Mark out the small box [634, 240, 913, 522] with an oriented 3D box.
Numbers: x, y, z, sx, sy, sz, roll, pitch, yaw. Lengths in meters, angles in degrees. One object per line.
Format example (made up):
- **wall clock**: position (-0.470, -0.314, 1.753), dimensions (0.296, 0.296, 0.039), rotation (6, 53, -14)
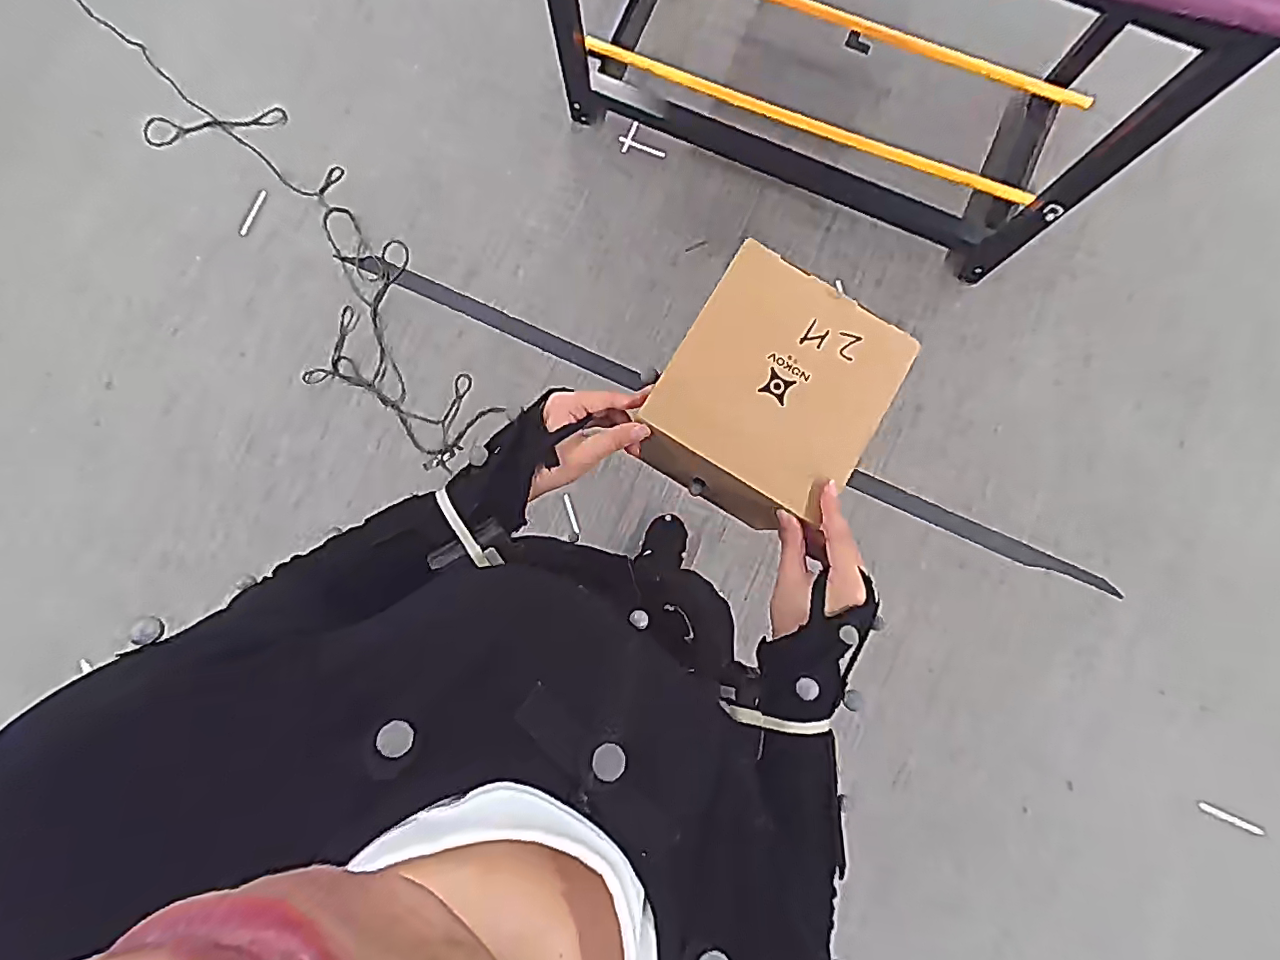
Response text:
- **small box**: position (0.104, -0.072, 0.505), dimensions (0.168, 0.176, 0.179), rotation (32, 82, -1)
